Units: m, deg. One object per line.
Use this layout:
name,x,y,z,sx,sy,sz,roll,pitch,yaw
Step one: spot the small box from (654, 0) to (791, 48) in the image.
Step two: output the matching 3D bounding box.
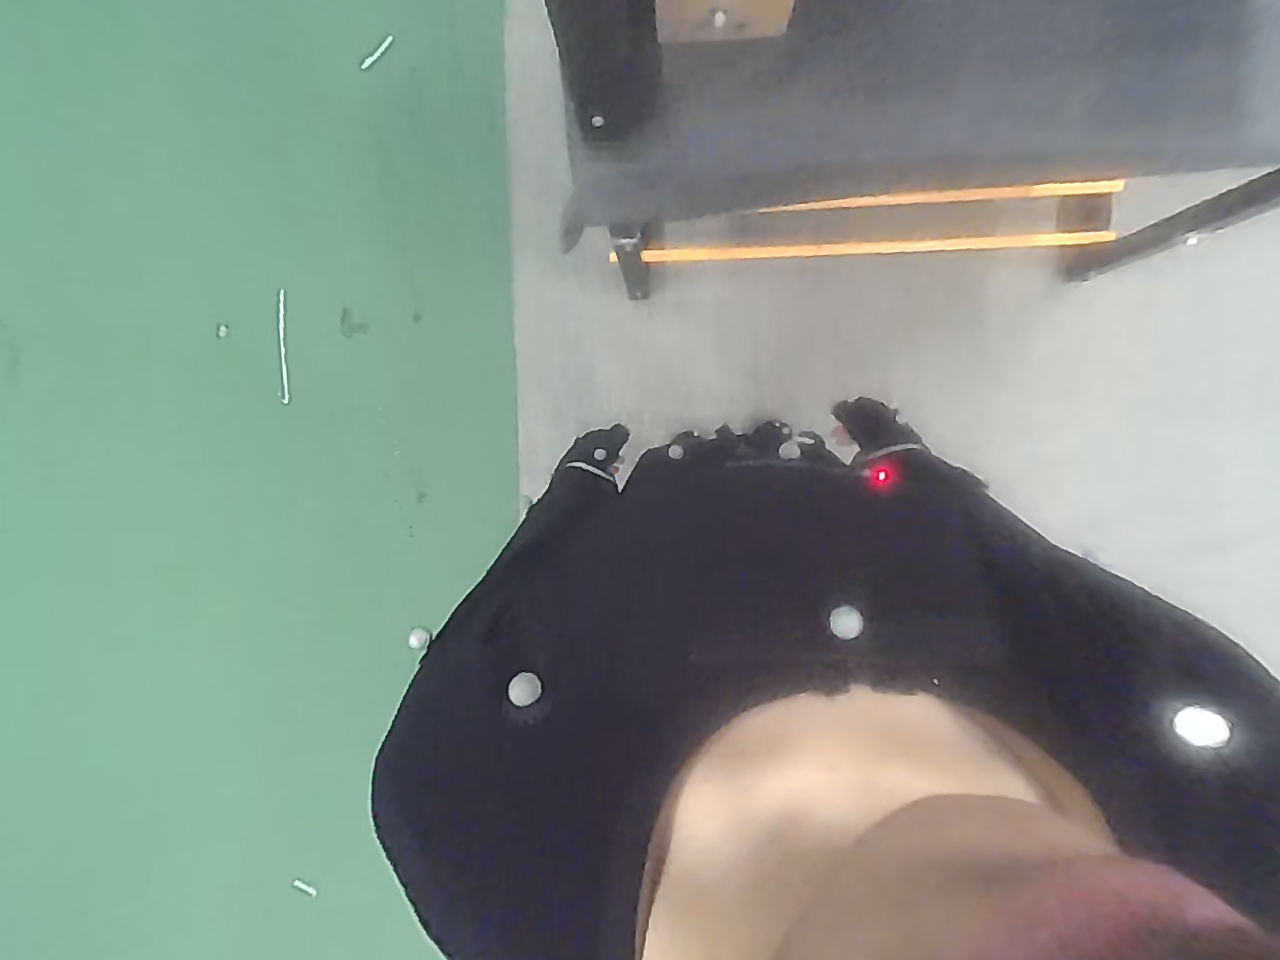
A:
small box,0.097,-0.651,0.623,0.168,0.176,0.179,-1,94,3
